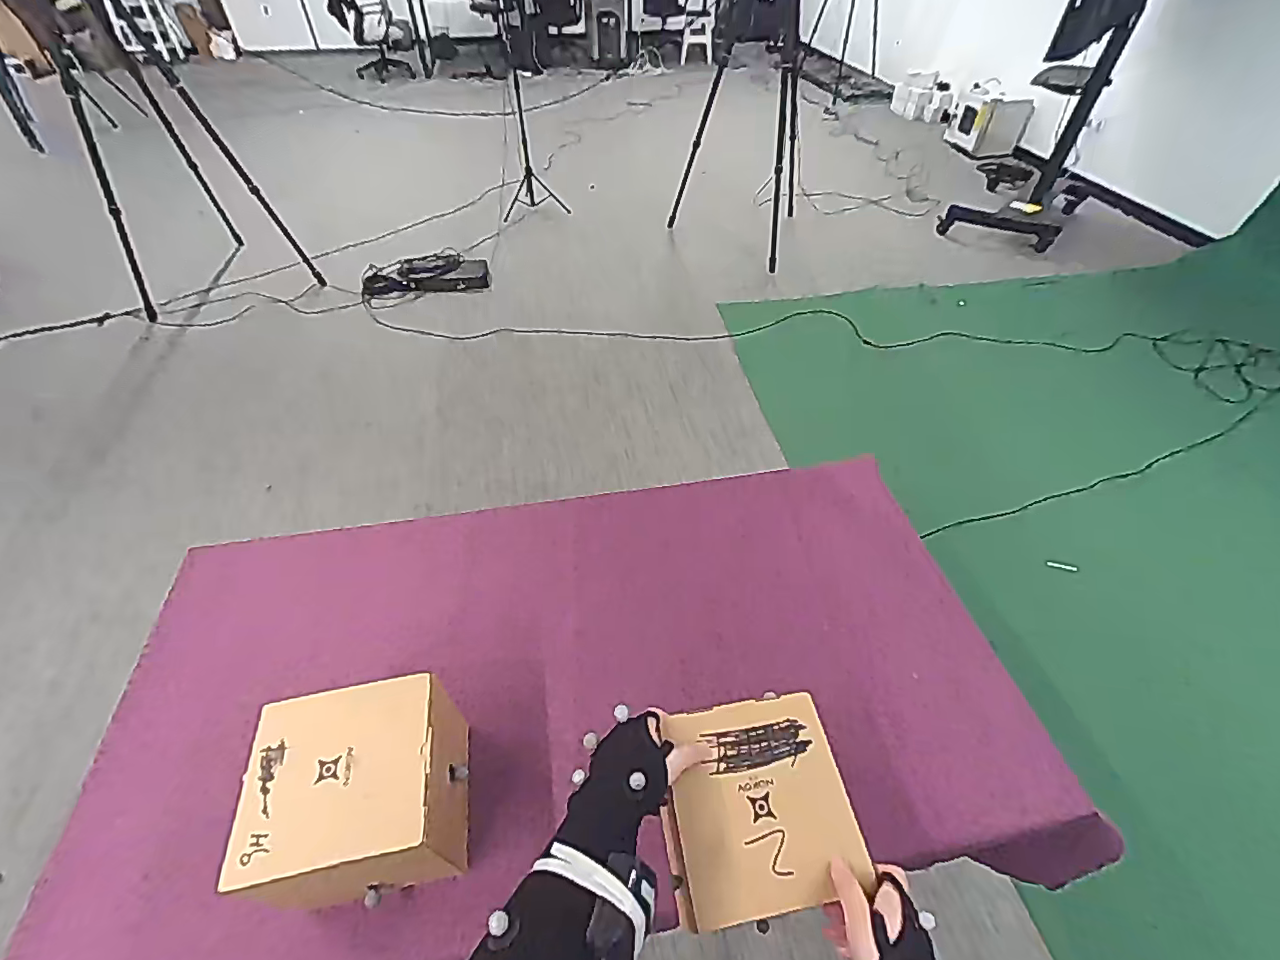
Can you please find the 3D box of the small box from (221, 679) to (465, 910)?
[{"bbox_3d":[-0.294,0.342,0.588,0.179,0.176,0.168,-8,48,-9],"label":"small box"}]
